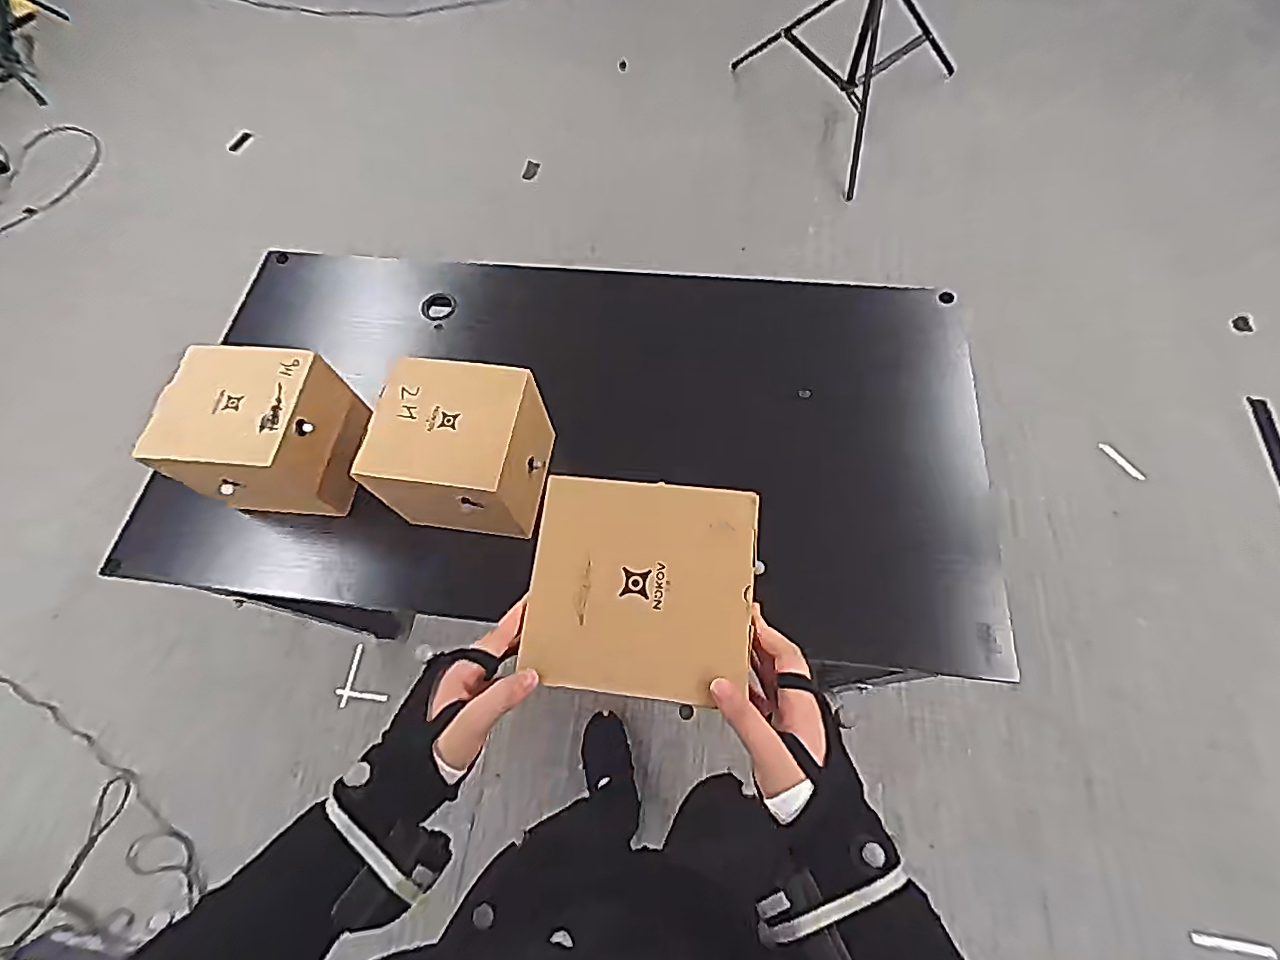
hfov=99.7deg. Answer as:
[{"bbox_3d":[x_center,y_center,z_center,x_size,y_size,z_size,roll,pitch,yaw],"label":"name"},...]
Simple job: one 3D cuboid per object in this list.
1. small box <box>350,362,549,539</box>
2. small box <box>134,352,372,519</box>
[{"bbox_3d":[-0.228,-0.030,0.707,0.179,0.176,0.168,6,66,6],"label":"small box"},{"bbox_3d":[-0.499,-0.054,0.732,0.179,0.176,0.168,3,66,5],"label":"small box"}]
